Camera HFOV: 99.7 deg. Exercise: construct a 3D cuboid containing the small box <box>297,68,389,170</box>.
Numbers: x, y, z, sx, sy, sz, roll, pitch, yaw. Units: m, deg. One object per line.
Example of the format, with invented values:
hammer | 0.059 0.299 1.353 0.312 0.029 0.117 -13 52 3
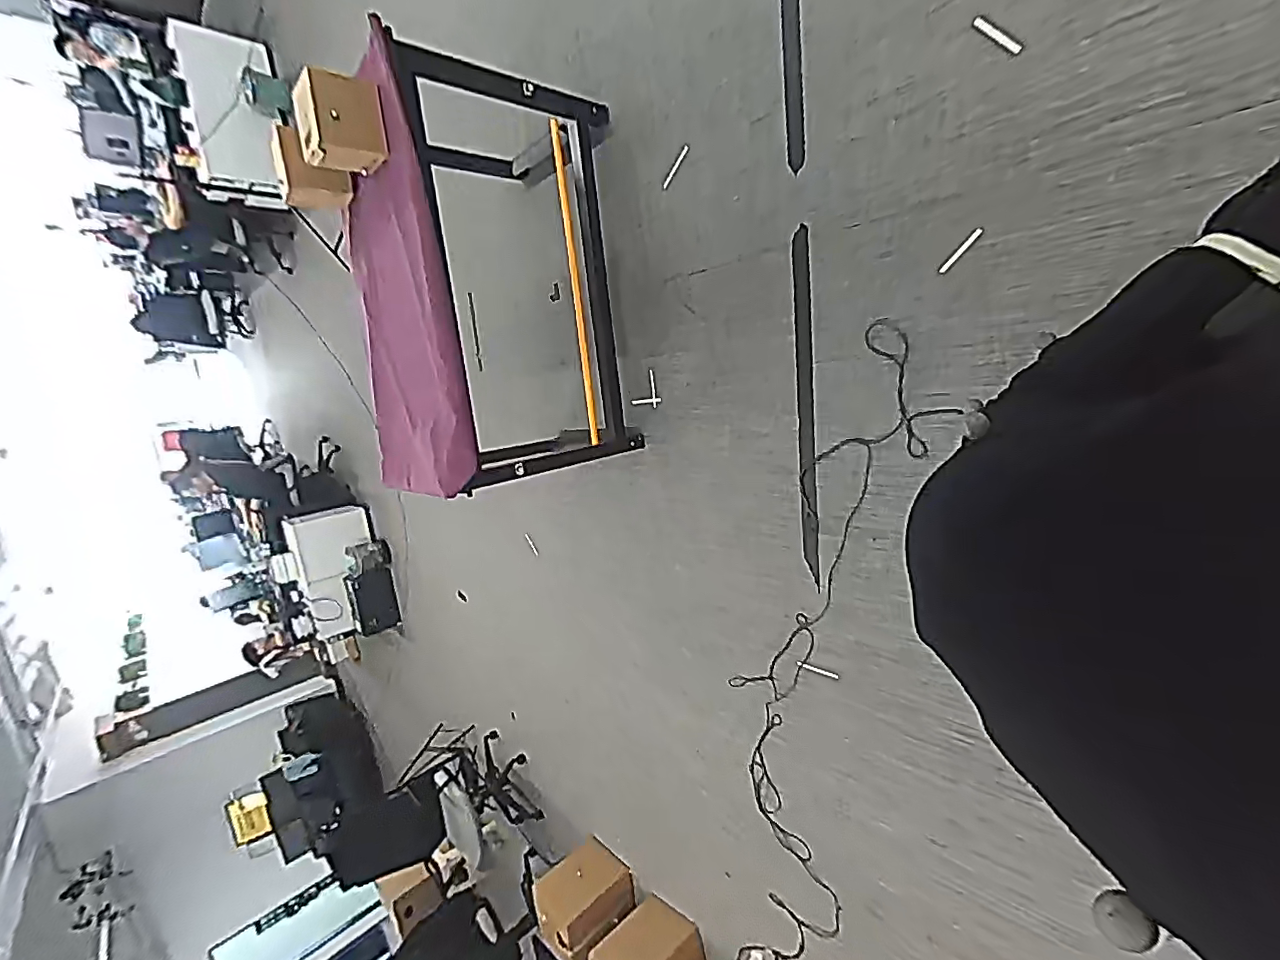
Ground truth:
small box | -0.790 -0.949 1.444 0.168 0.176 0.179 9 108 47
